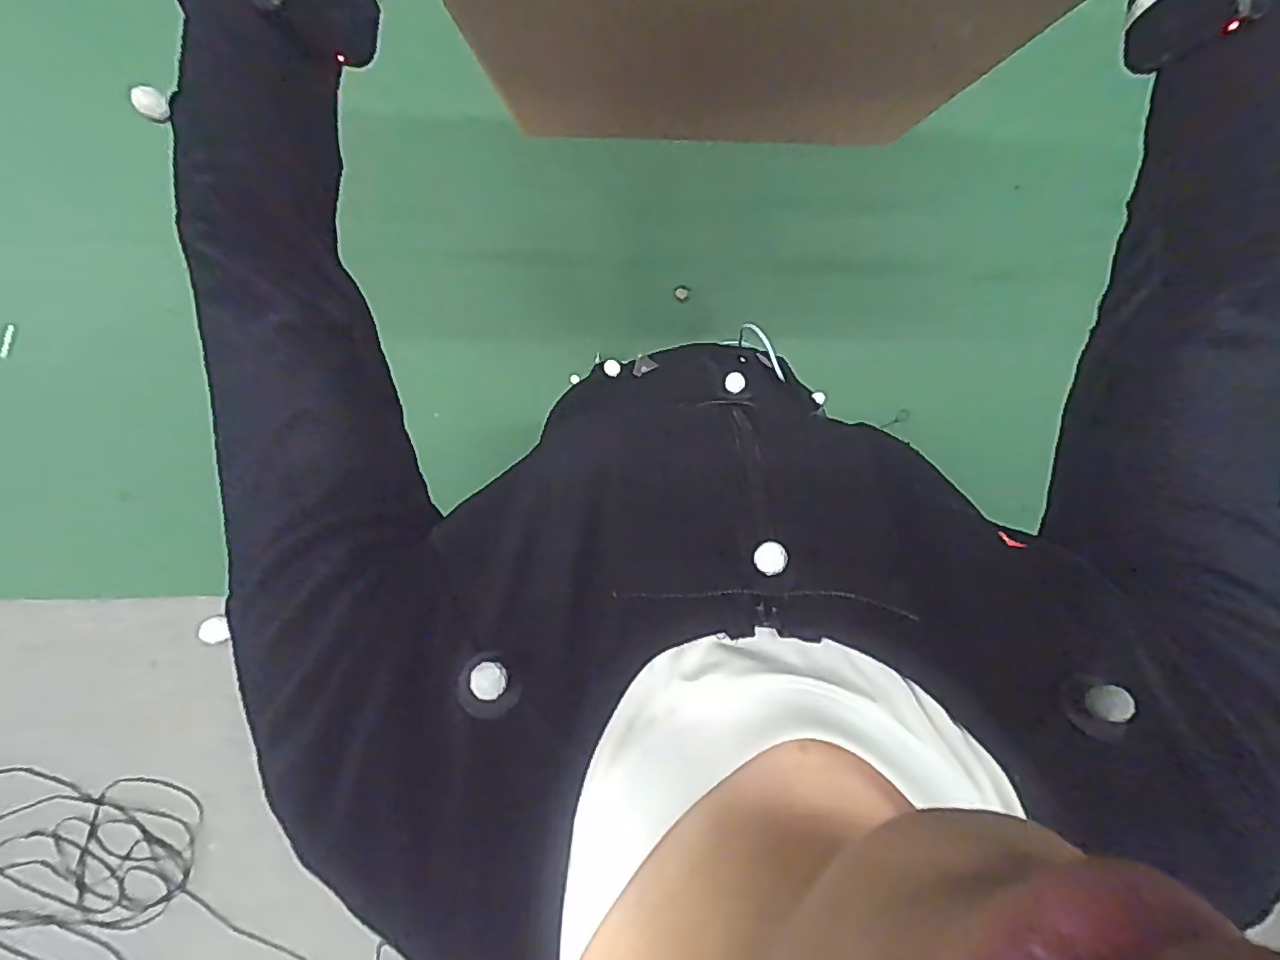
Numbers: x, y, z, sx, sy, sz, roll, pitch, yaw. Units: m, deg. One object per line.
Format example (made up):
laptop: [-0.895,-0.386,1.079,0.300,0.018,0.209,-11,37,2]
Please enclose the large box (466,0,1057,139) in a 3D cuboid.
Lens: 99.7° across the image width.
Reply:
large box: [0.078,-0.482,0.408,0.408,0.320,0.320,0,106,-1]
